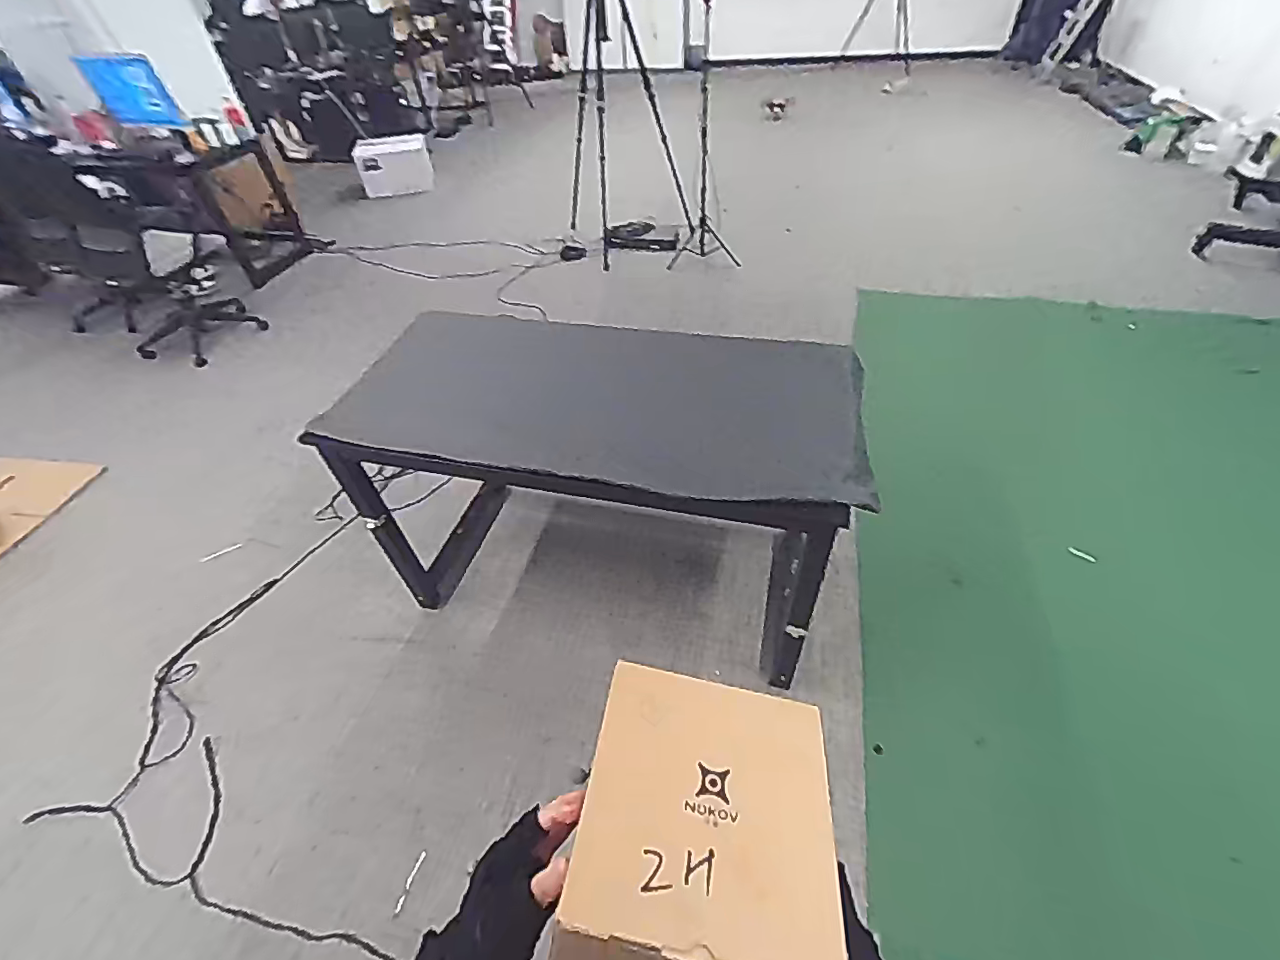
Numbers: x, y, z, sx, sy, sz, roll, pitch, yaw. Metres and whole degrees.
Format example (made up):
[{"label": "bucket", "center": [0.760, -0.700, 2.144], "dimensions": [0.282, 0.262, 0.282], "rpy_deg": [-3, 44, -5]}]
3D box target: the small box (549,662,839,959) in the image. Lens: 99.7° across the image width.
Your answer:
[{"label": "small box", "center": [0.032, 0.276, 0.411], "dimensions": [0.168, 0.176, 0.179], "rpy_deg": [12, 37, 3]}]
